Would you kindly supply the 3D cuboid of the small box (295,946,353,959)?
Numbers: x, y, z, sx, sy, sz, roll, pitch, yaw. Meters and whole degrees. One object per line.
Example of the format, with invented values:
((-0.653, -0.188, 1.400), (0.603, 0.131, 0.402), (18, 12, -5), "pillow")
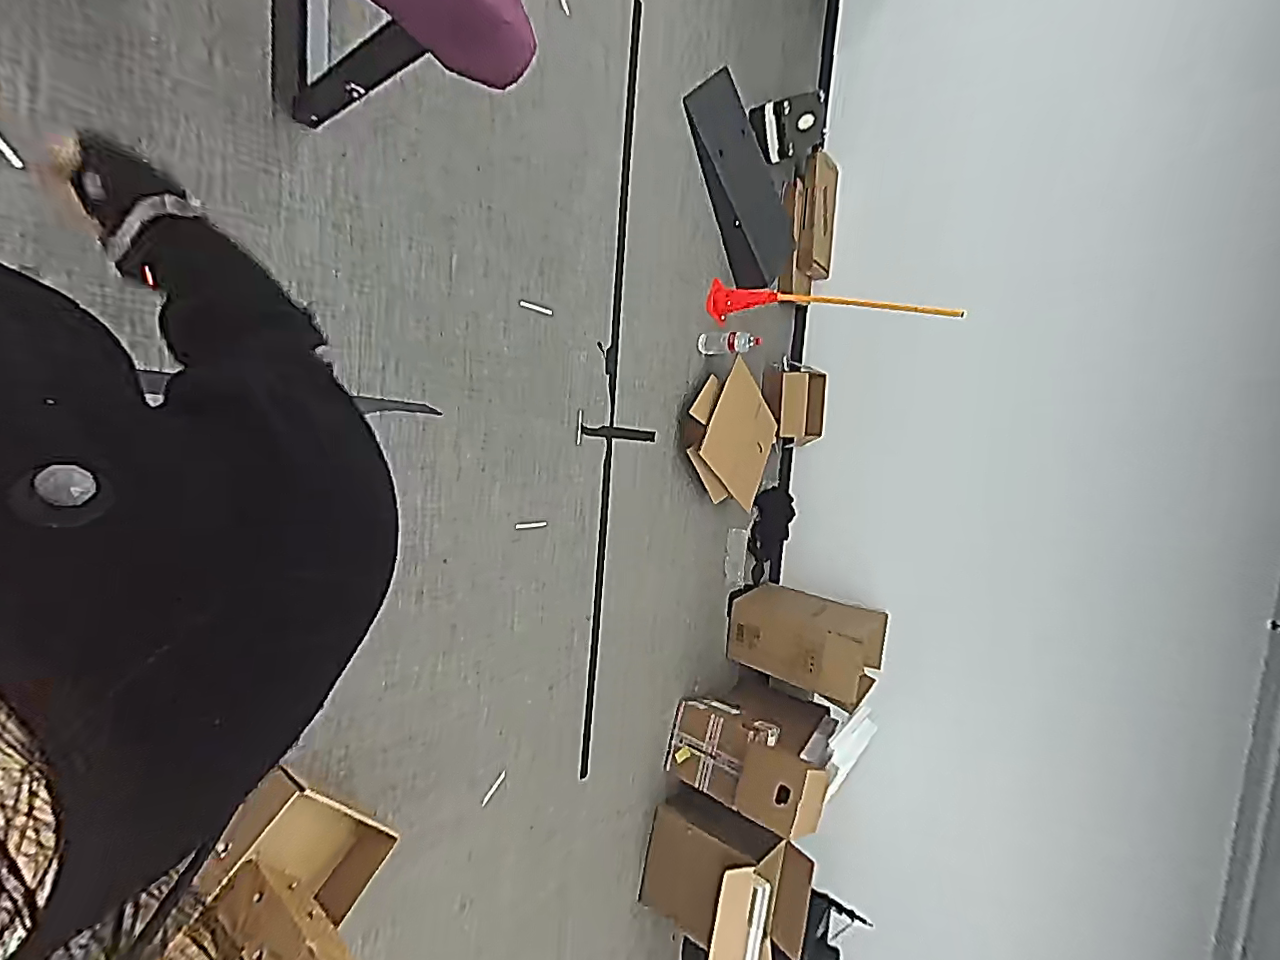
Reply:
((-0.676, 1.136, 1.137), (0.168, 0.176, 0.179), (-52, 135, -33), "small box")

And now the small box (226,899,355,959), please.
((-0.806, 1.105, 1.232), (0.168, 0.176, 0.179), (-51, 134, -34), "small box")
